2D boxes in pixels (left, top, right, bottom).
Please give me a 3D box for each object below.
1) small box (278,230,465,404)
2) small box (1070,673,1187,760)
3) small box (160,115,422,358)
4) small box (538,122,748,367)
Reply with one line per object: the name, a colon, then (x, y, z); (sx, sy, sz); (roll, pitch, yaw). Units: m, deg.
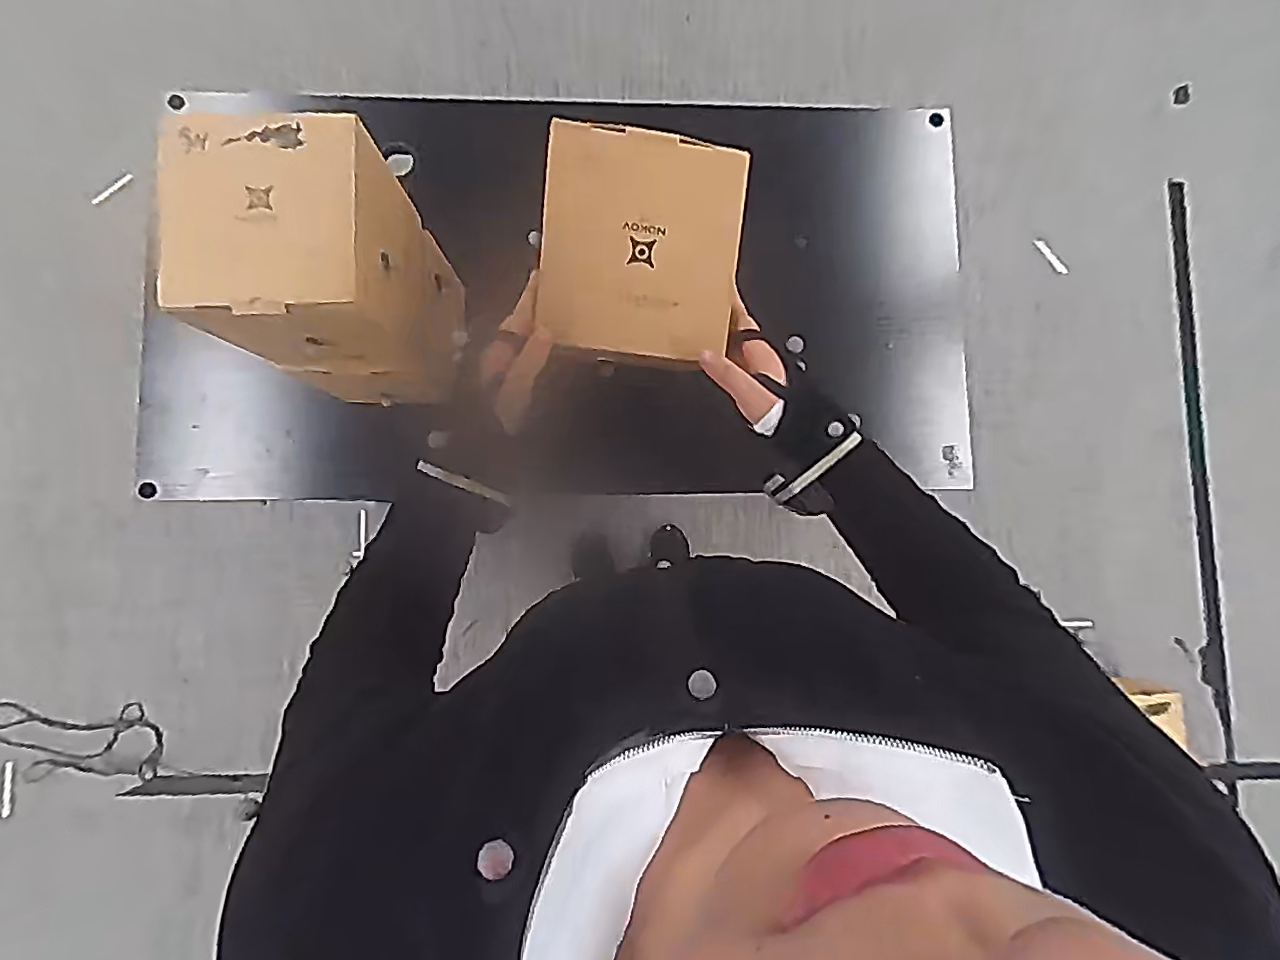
small box: (-0.336, -0.206, 0.710); (0.168, 0.176, 0.179); (1, 86, -2)
small box: (1.304, 0.627, 1.456); (0.168, 0.176, 0.179); (-2, 87, -2)
small box: (-0.331, -0.227, 0.547); (0.168, 0.176, 0.179); (-2, 87, -3)
small box: (-0.007, -0.207, 0.527); (0.168, 0.176, 0.179); (4, 102, -7)
